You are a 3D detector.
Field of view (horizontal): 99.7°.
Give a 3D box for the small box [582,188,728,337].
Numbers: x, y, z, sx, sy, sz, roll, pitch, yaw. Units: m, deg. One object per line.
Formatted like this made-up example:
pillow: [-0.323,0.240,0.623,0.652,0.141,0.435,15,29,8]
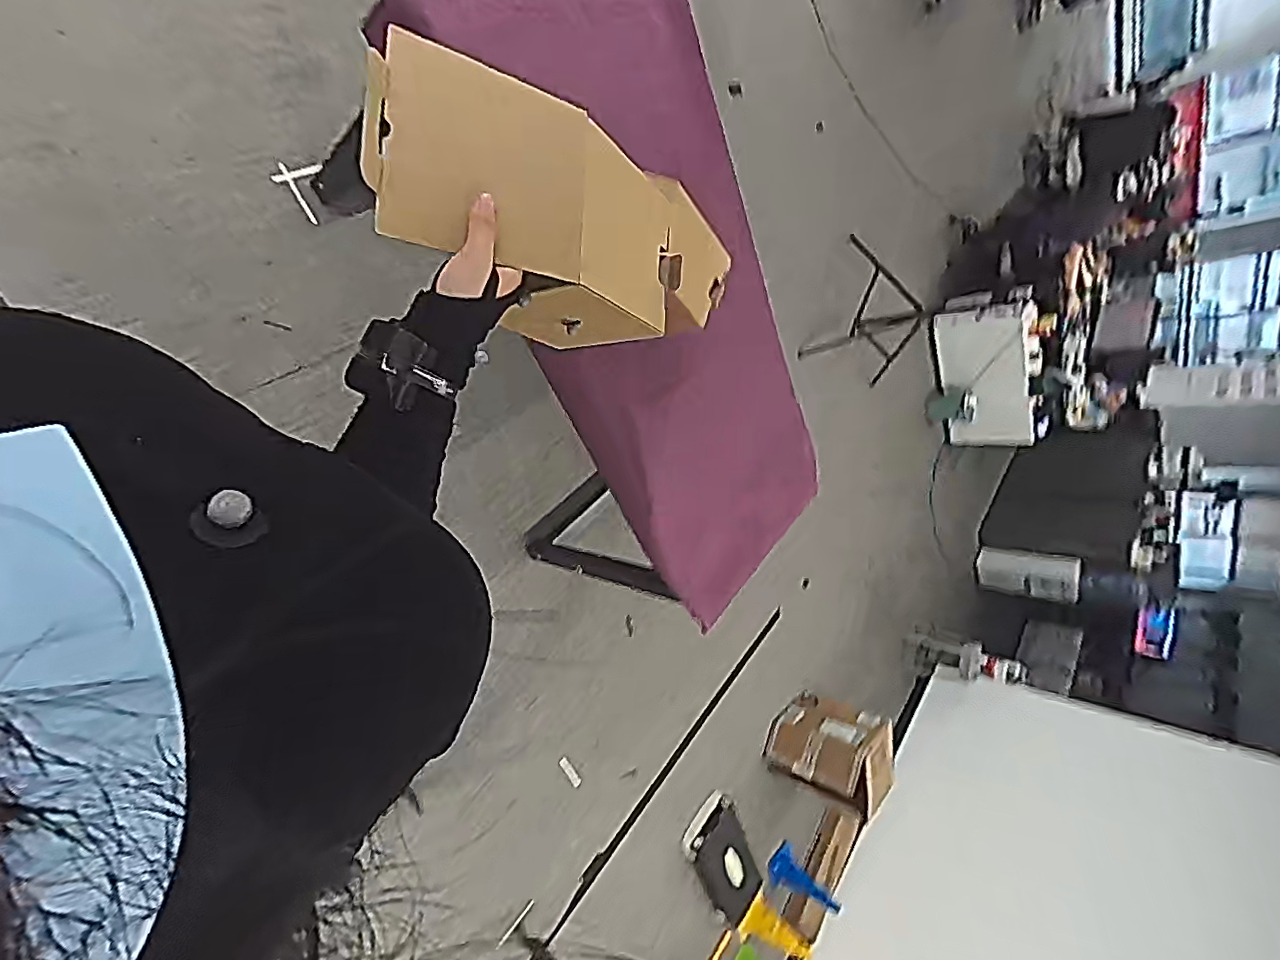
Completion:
small box: [0.026,-0.382,0.988,0.179,0.176,0.168,40,66,-39]
